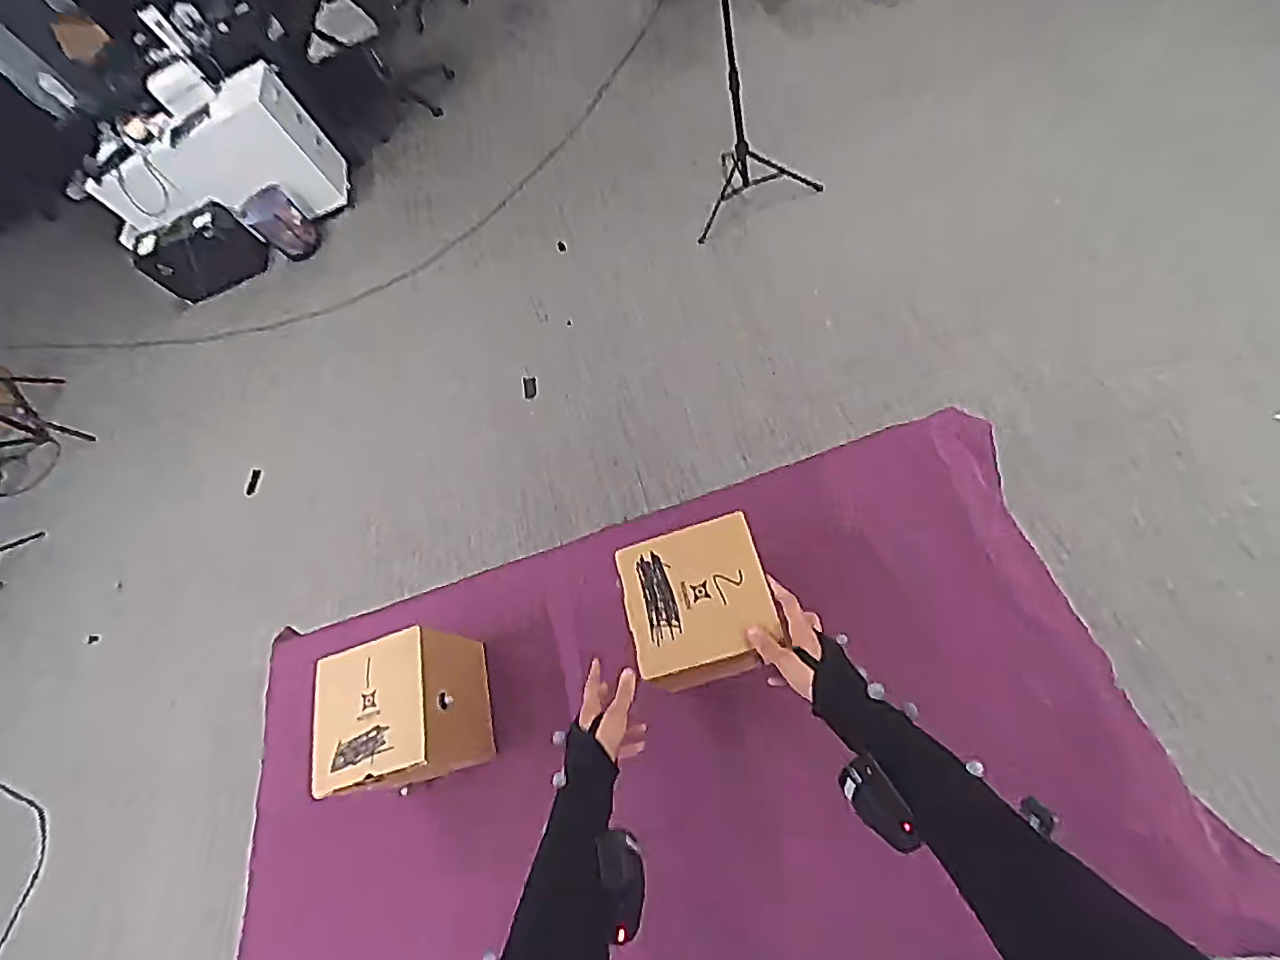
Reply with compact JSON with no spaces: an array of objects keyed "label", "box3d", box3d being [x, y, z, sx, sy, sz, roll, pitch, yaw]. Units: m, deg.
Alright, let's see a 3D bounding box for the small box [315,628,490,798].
[{"label":"small box","box3d":[-0.333,0.335,0.781,0.168,0.176,0.179,-21,60,7]}]
